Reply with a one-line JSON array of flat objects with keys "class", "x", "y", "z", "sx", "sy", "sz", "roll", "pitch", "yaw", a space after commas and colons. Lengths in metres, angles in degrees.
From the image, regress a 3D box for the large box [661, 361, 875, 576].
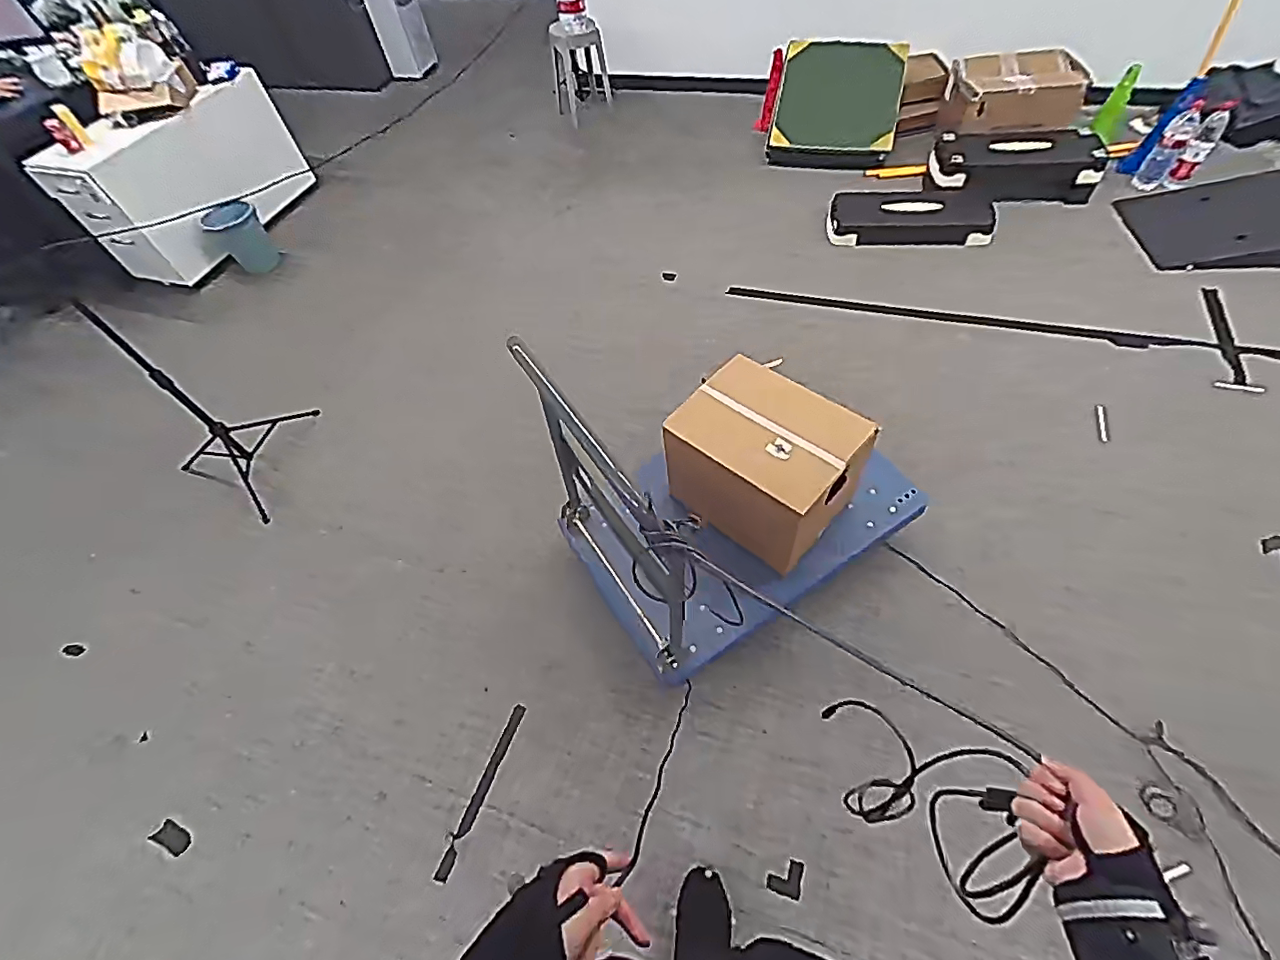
[{"class": "large box", "x": 0.306, "y": -0.032, "z": 1.391, "sx": 0.408, "sy": 0.320, "sz": 0.320, "roll": 35, "pitch": 67, "yaw": 26}]
